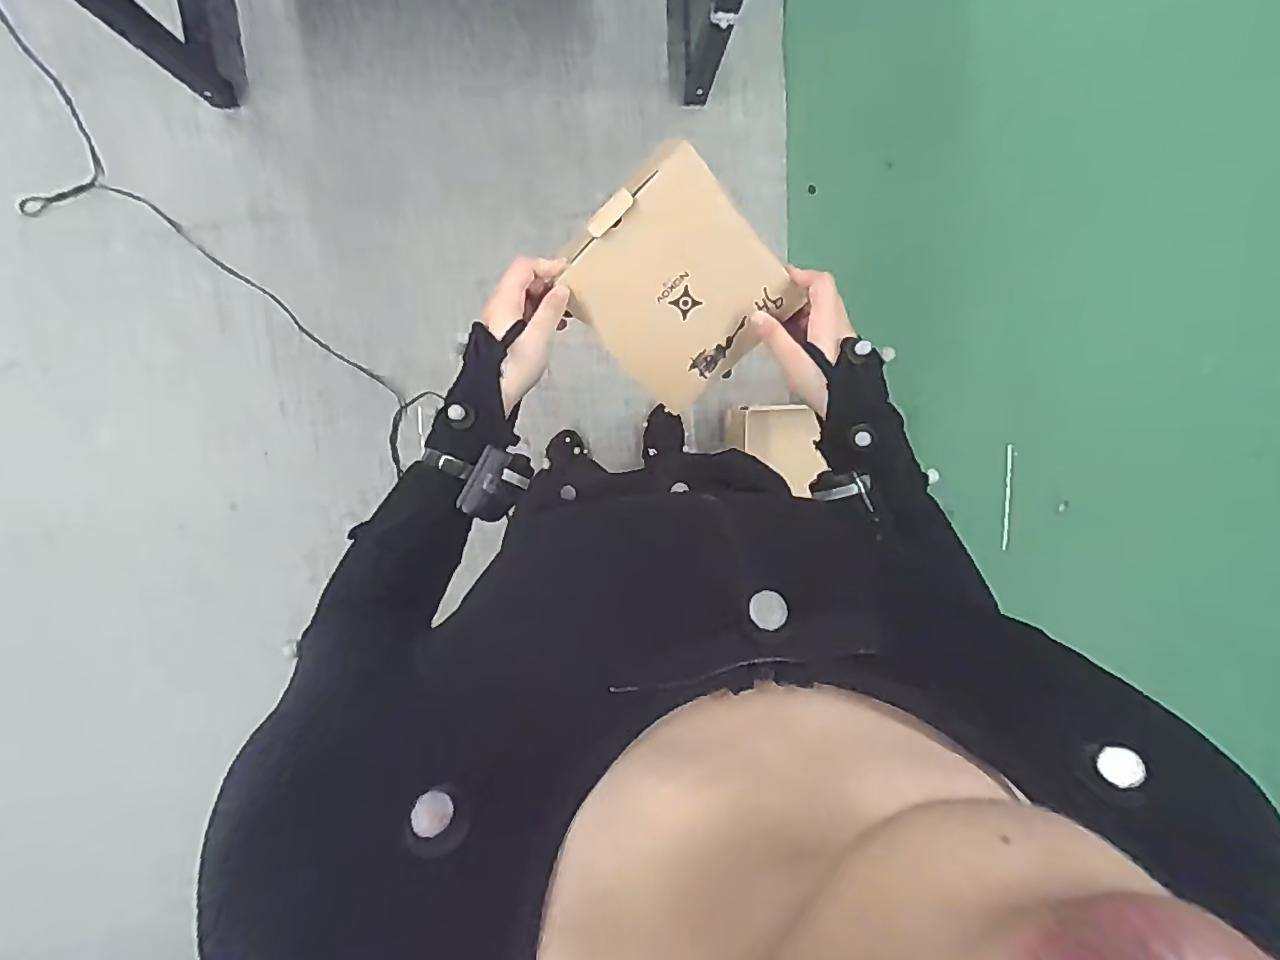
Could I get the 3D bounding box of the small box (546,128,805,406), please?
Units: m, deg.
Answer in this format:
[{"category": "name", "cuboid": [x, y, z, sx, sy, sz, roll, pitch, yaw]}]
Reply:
[{"category": "small box", "cuboid": [0.028, -0.212, 0.544, 0.168, 0.176, 0.179, -40, 117, 18]}]
